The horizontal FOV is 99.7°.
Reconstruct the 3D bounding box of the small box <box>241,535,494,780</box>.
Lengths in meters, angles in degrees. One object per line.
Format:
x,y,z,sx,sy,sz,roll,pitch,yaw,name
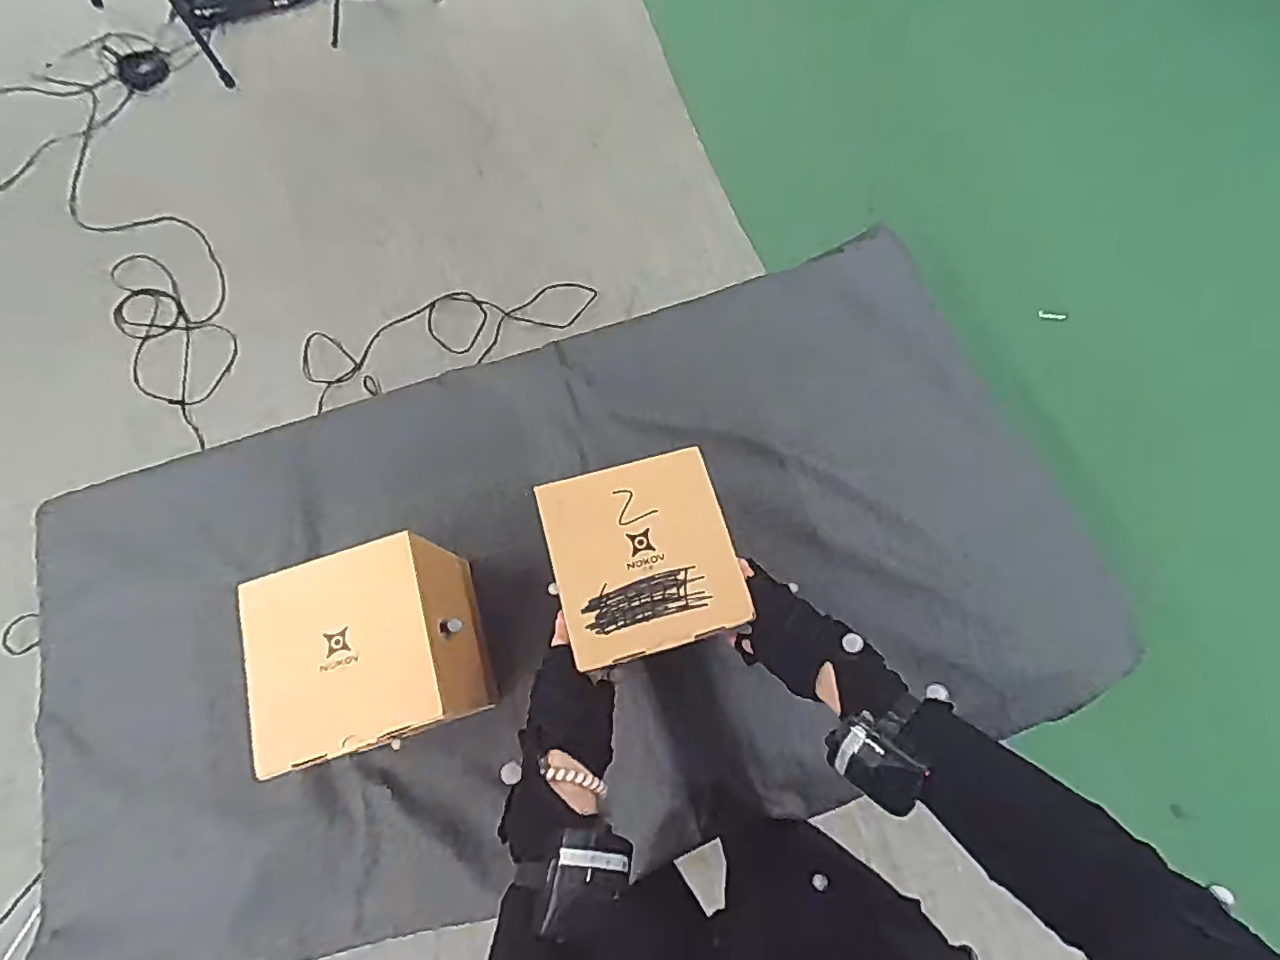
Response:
-0.269,0.178,0.562,0.168,0.176,0.179,-18,72,-3,small box
